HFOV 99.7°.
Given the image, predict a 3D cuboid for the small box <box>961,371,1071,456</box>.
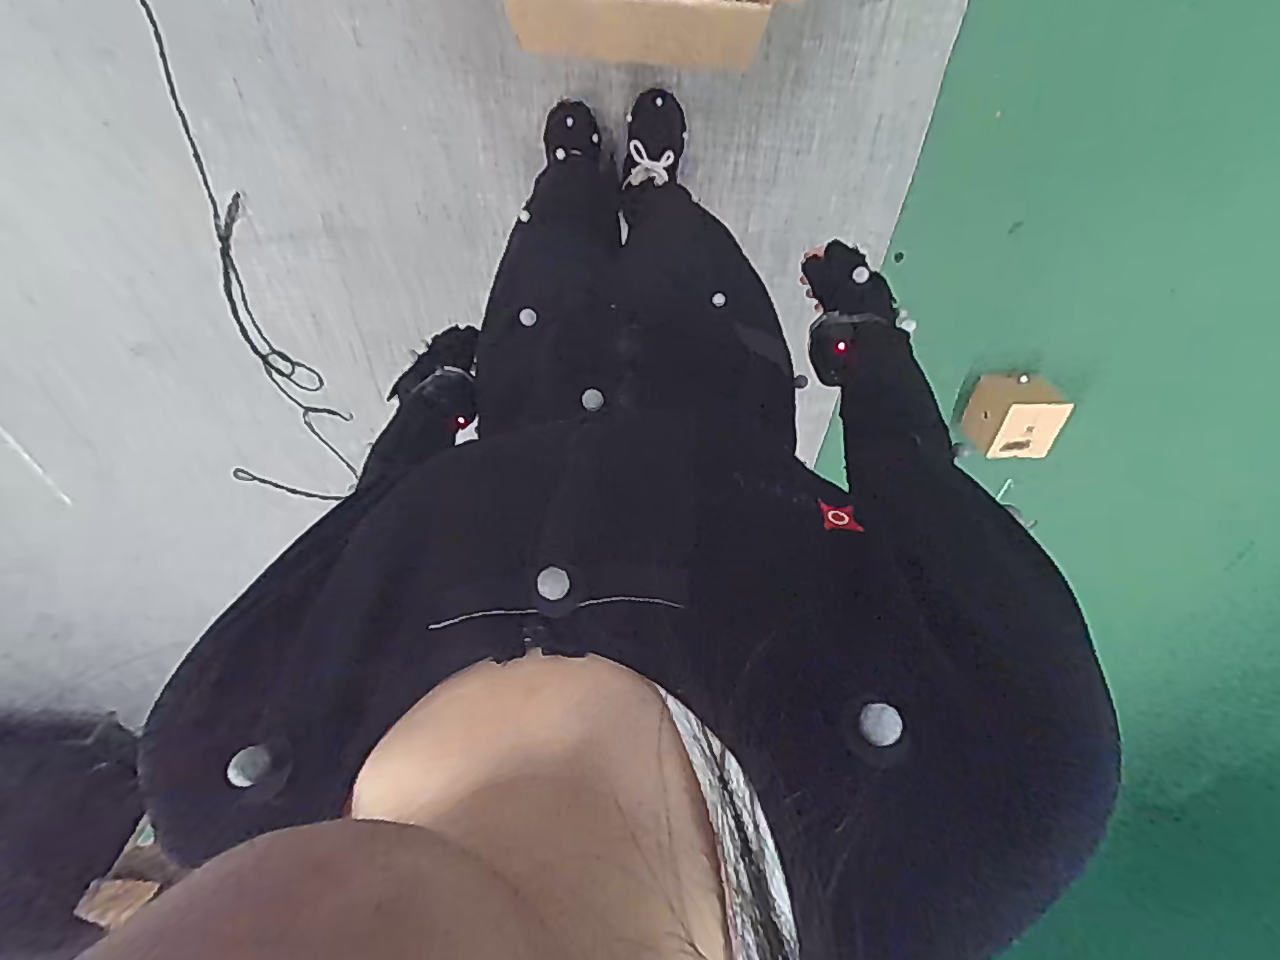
[{"bbox_3d":[1.034,-0.186,1.509,0.168,0.176,0.179,0,130,0],"label":"small box"}]
